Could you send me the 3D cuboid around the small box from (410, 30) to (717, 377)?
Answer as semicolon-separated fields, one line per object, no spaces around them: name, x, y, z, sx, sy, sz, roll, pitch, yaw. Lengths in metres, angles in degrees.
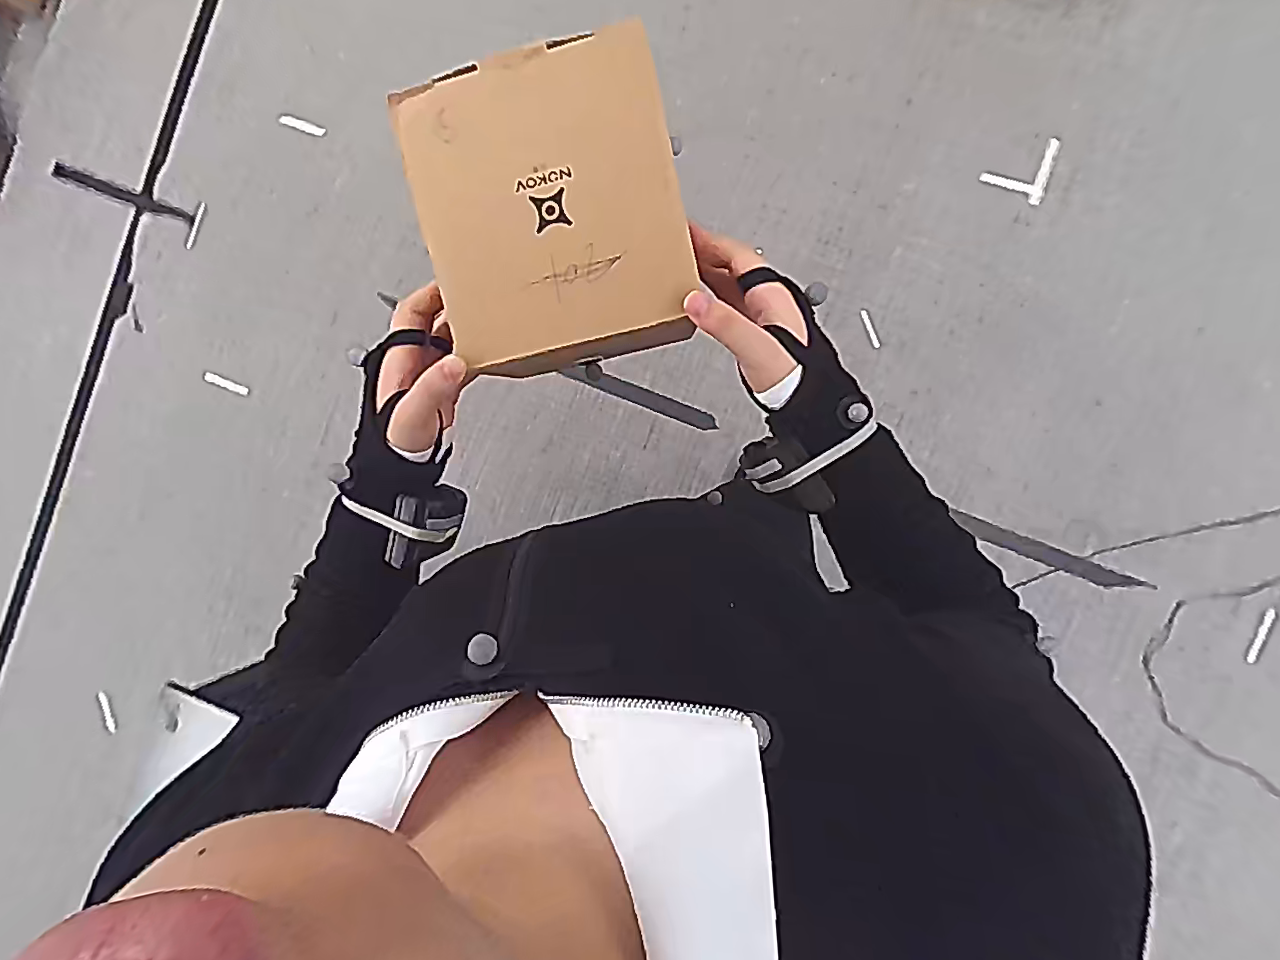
small box;-0.044;-0.184;0.419;0.168;0.176;0.179;-12;99;4
